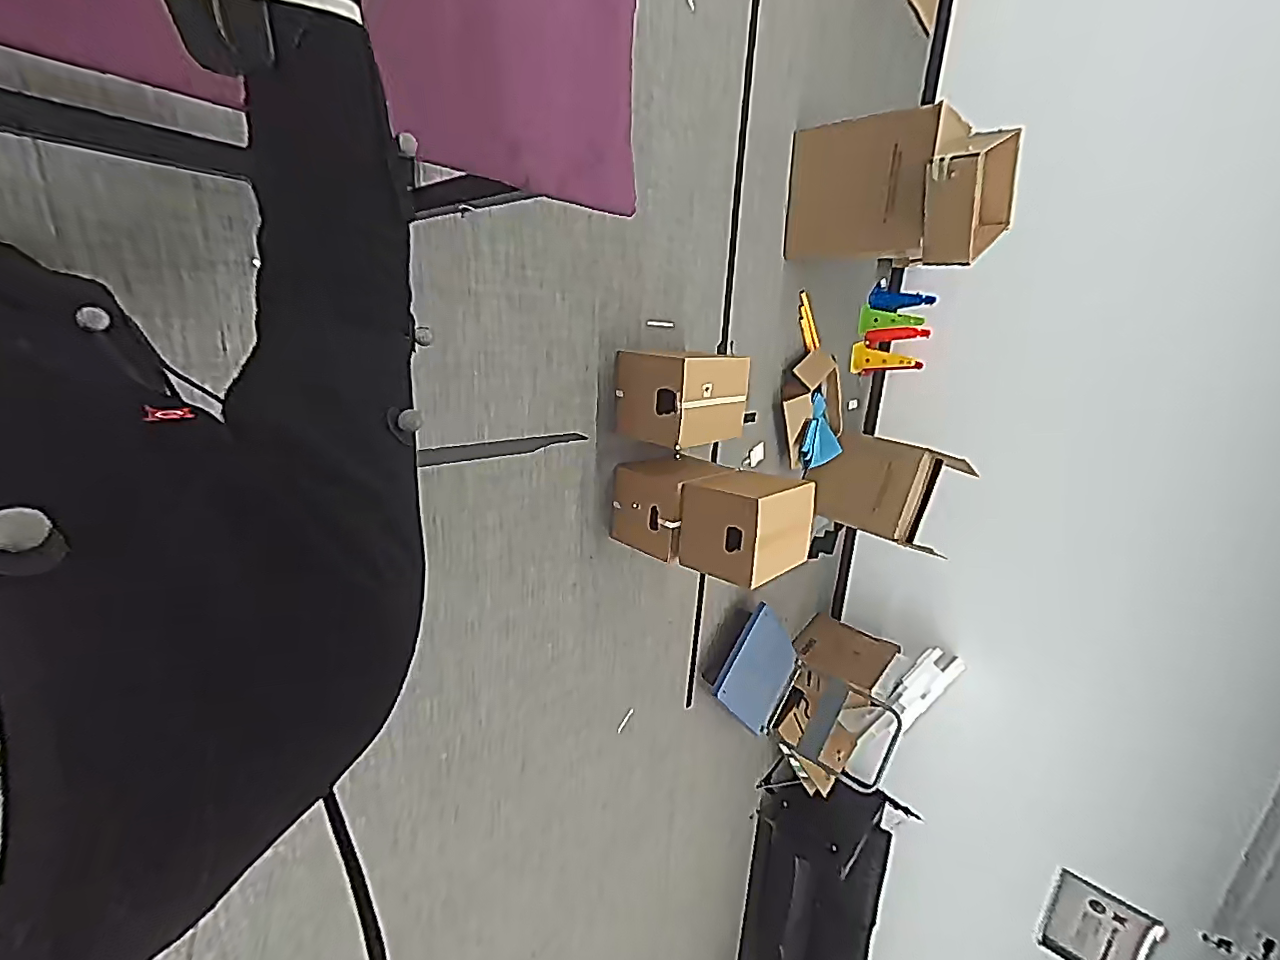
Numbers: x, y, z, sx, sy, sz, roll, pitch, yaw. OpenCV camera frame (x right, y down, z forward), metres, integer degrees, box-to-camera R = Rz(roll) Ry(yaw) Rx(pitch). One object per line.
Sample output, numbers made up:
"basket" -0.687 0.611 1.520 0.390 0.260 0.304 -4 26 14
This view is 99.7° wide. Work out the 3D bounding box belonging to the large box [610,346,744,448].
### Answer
"large box" 0.139 -0.328 2.026 0.408 0.320 0.320 -14 114 -45
